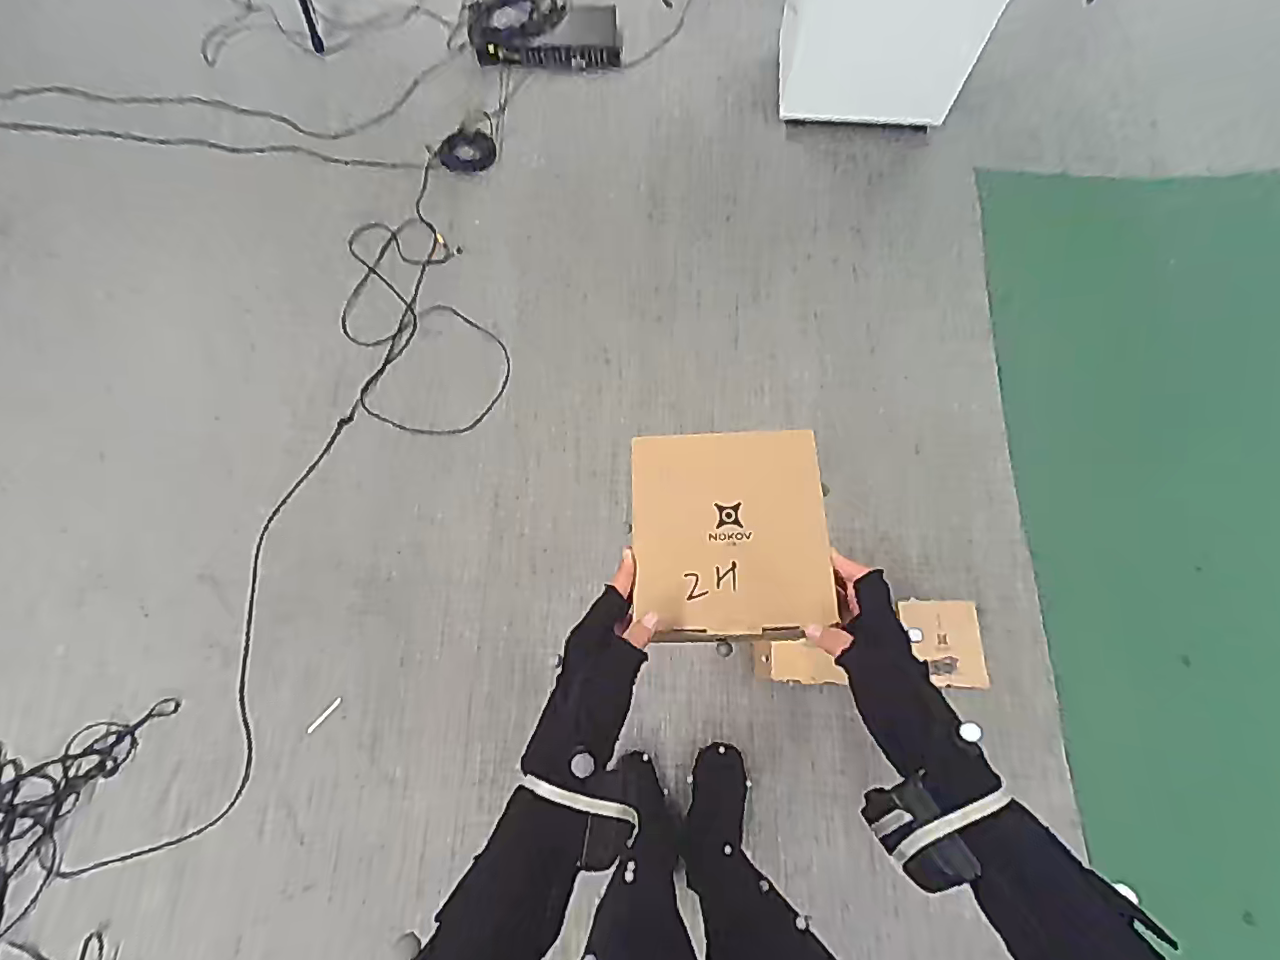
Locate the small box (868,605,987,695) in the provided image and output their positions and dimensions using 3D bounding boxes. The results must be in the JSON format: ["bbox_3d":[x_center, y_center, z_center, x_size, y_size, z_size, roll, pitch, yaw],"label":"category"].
[{"bbox_3d":[0.619,0.372,1.185,0.168,0.176,0.179,1,71,1],"label":"small box"}]

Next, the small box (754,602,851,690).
[{"bbox_3d":[0.350,0.361,1.191,0.168,0.176,0.179,4,72,1],"label":"small box"}]

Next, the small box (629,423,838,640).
[{"bbox_3d":[0.078,0.059,0.526,0.168,0.176,0.179,-2,71,4],"label":"small box"}]
